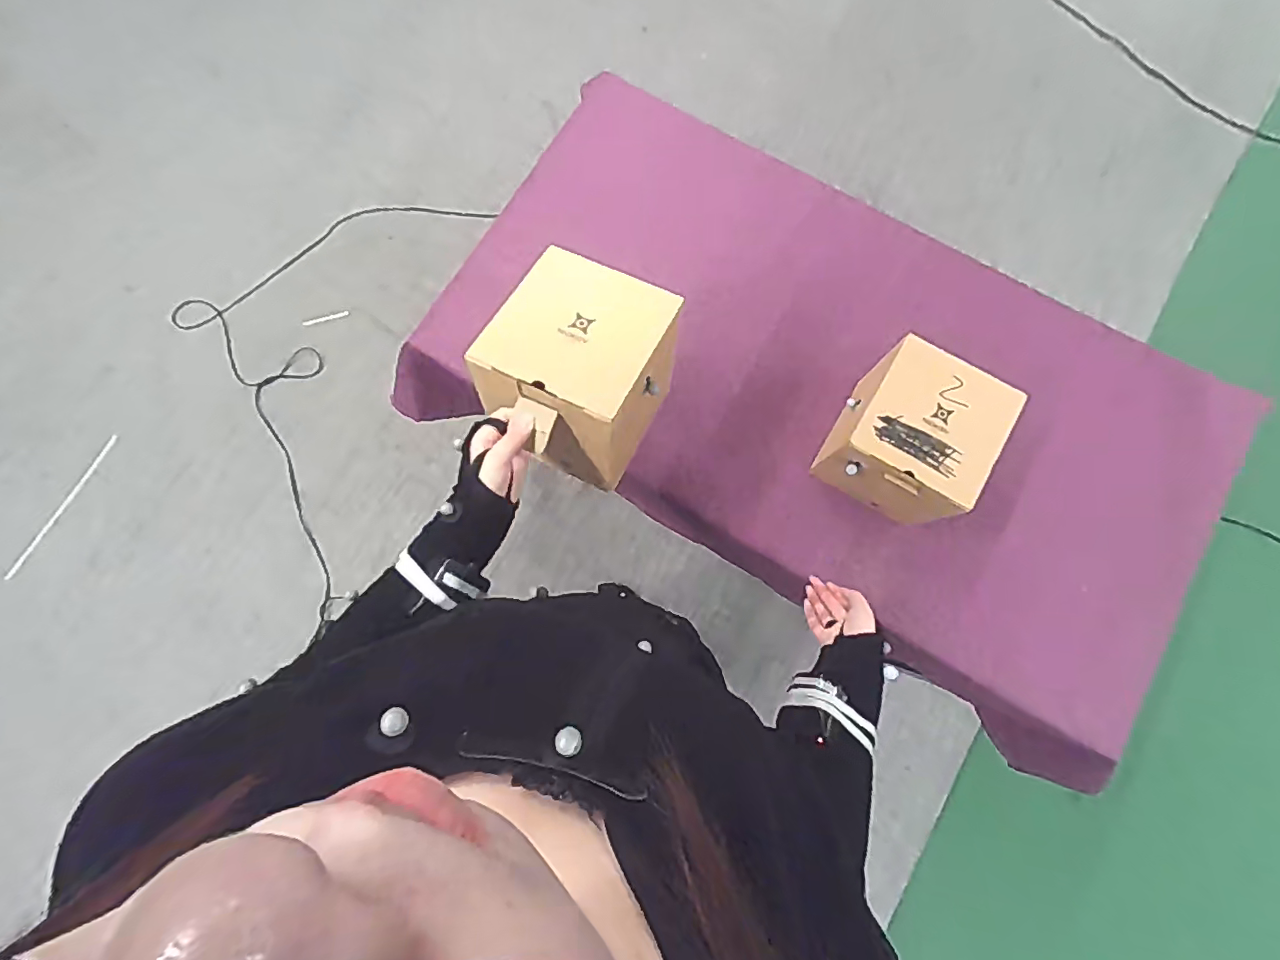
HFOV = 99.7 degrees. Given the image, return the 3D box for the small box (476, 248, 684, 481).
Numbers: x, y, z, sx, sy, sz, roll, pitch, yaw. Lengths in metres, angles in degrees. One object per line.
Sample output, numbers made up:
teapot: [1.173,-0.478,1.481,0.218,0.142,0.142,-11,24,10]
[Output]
small box: [-0.065,-0.130,0.645,0.168,0.176,0.179,25,67,8]
